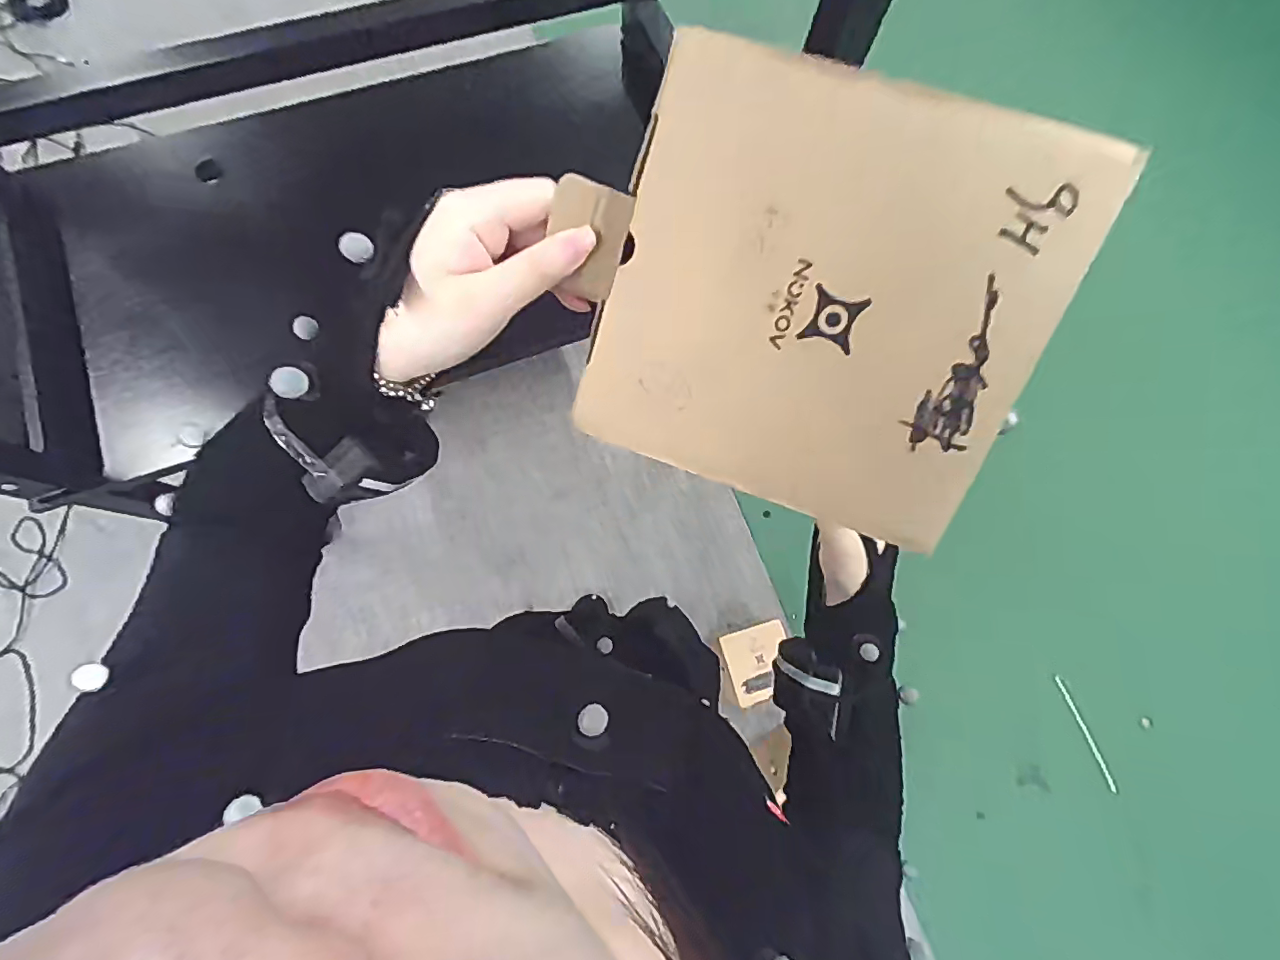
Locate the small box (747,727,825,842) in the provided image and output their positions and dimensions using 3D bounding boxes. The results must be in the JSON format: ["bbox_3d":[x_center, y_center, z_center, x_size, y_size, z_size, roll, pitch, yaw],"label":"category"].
[{"bbox_3d":[0.388,0.737,1.338,0.168,0.176,0.179,-27,80,-8],"label":"small box"}]

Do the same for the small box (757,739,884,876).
[{"bbox_3d":[0.382,0.696,1.181,0.168,0.176,0.179,-40,82,-9],"label":"small box"}]
